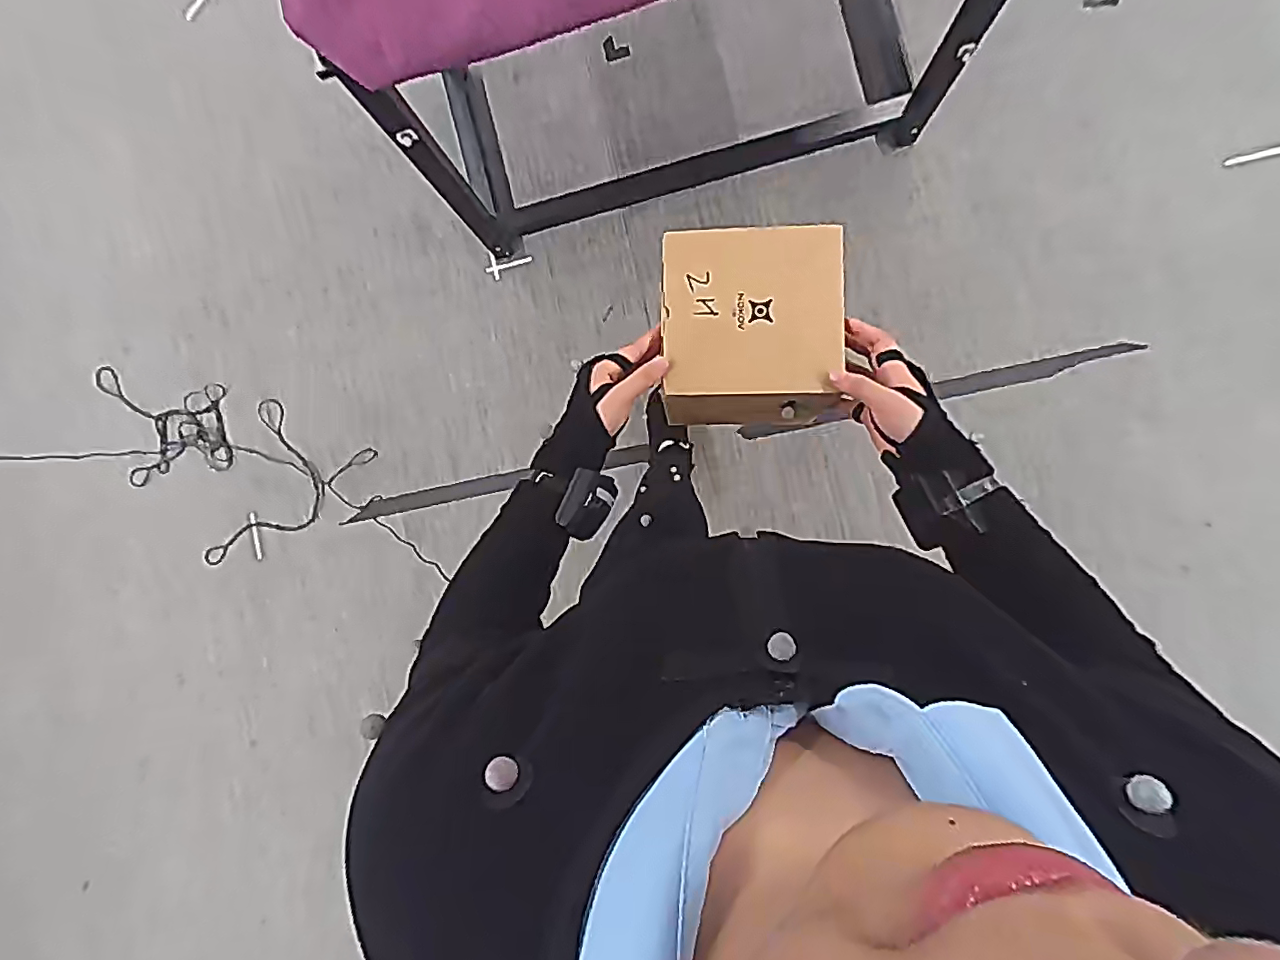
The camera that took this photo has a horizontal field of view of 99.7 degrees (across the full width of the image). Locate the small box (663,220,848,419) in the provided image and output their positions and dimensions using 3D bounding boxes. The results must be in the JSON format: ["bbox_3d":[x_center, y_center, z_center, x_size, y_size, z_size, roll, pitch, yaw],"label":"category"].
[{"bbox_3d":[0.117,-0.164,0.600,0.179,0.176,0.168,0,86,6],"label":"small box"}]
